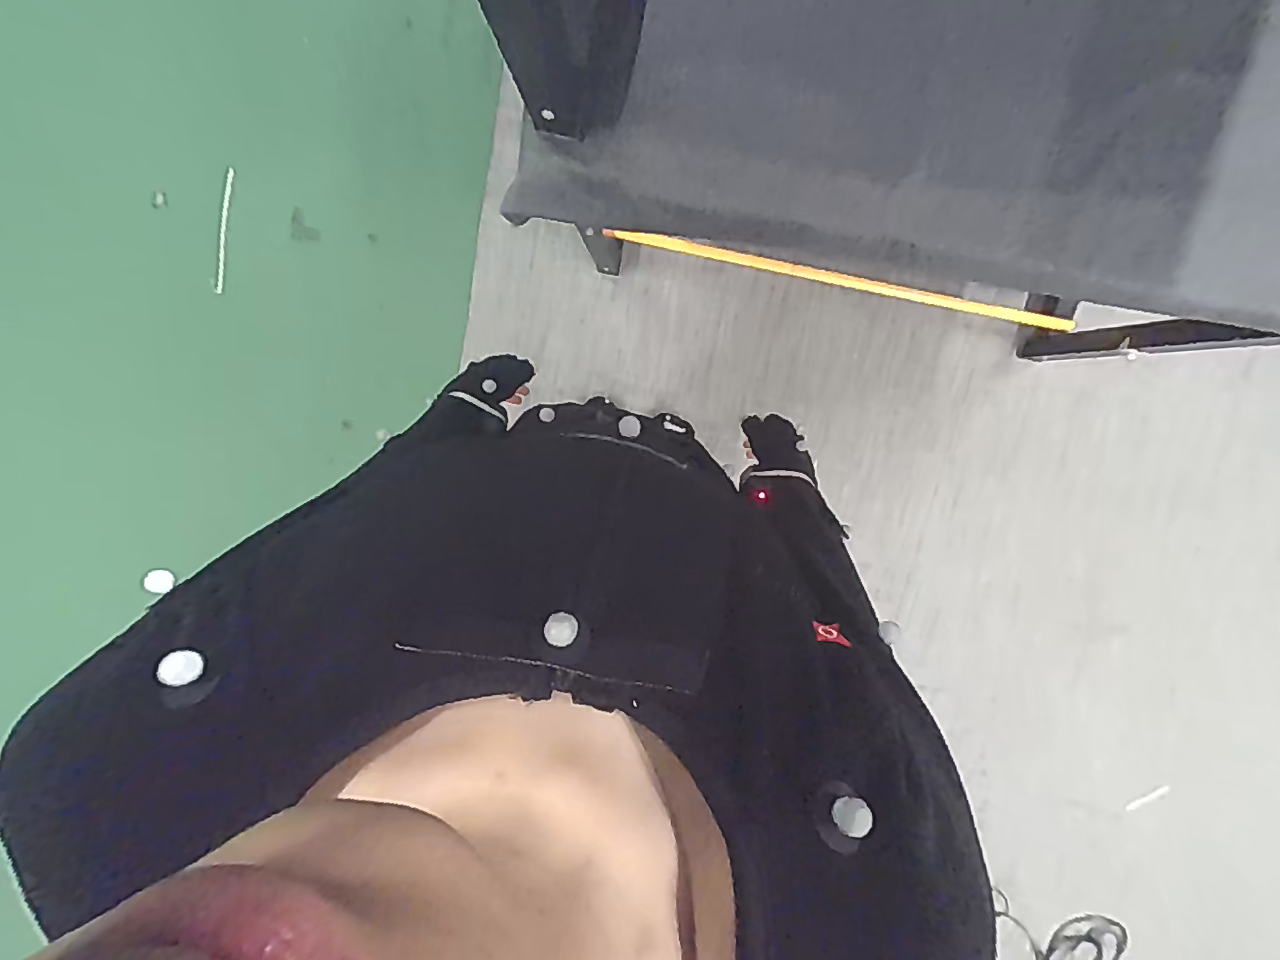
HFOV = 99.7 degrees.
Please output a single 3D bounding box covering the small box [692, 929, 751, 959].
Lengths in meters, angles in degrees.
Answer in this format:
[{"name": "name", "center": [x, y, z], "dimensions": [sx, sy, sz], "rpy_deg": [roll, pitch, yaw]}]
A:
[{"name": "small box", "center": [0.252, 1.543, 1.660], "dimensions": [0.168, 0.176, 0.179], "rpy_deg": [10, 99, -1]}]
